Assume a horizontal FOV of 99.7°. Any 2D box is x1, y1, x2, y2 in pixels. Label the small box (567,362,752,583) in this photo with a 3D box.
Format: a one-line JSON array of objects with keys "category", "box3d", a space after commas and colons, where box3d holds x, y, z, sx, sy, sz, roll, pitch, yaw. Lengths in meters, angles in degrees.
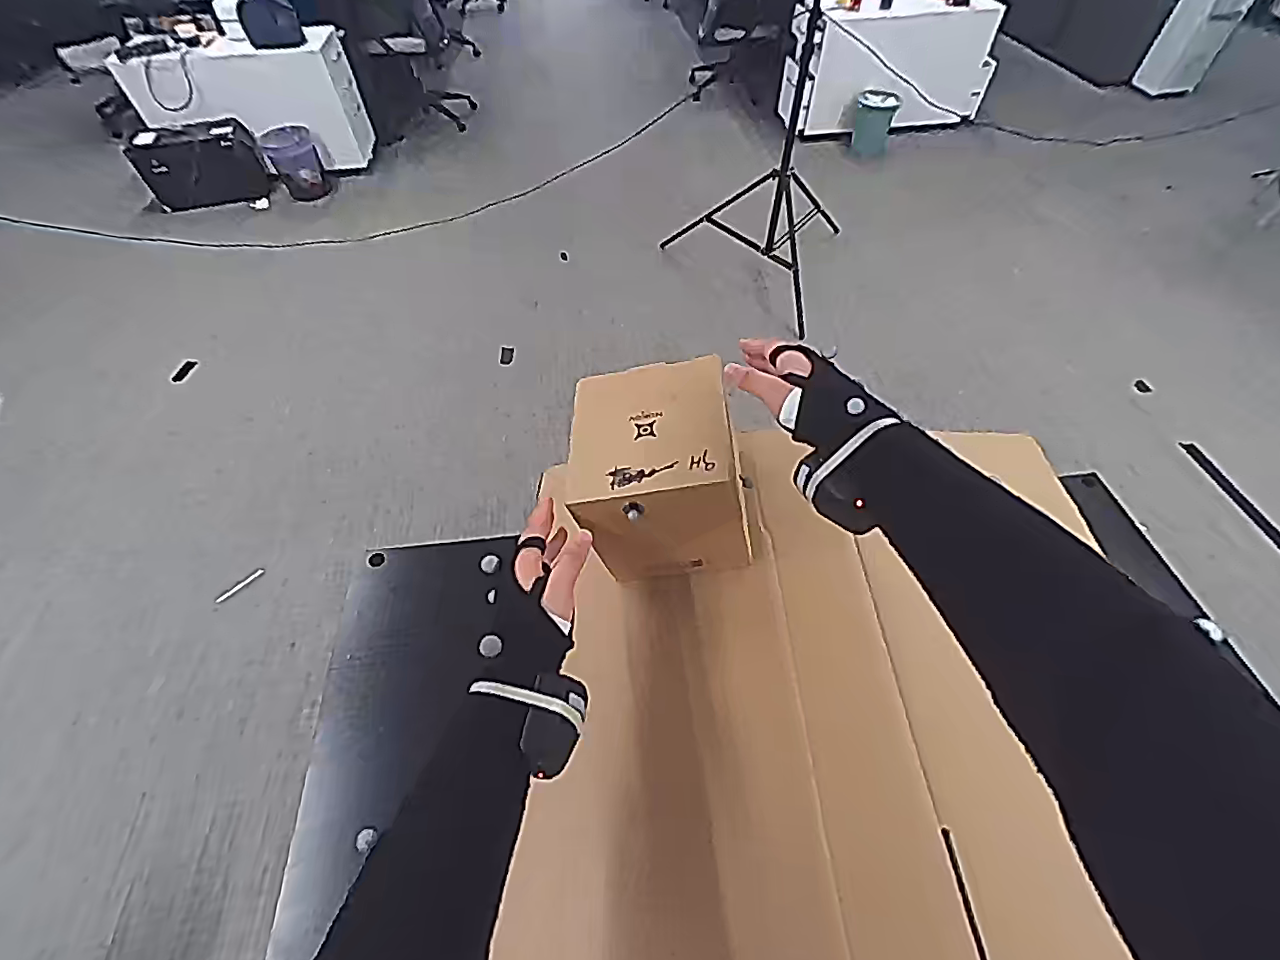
[{"category": "small box", "box3d": [0.031, -0.003, 0.617, 0.168, 0.176, 0.179, -9, 51, 13]}]
